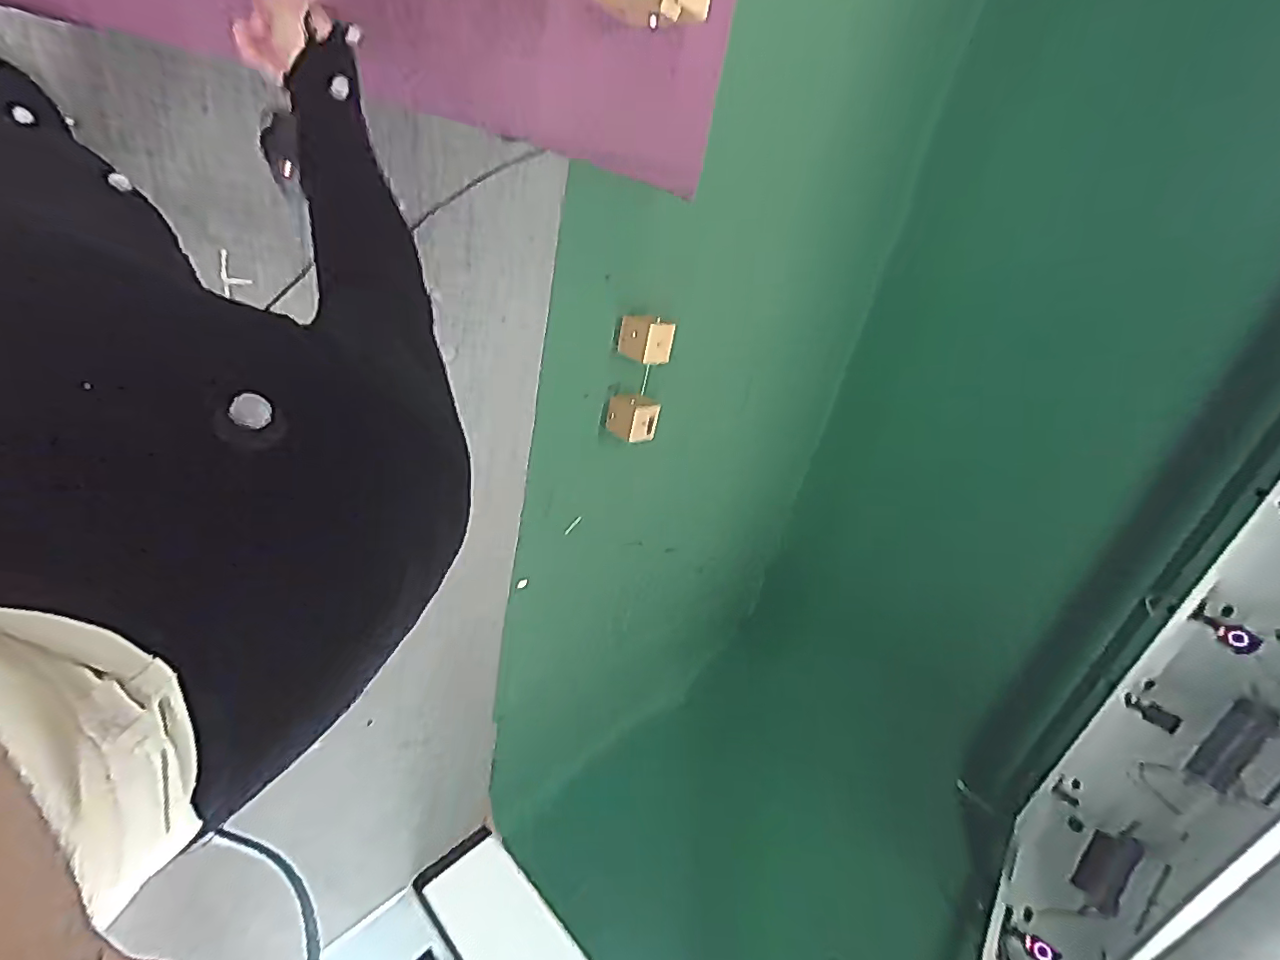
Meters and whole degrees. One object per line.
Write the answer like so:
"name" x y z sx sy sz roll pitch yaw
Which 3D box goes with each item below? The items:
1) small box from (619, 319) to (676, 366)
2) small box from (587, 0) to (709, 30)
"small box" 0.029 -0.605 2.380 0.179 0.176 0.168 -17 127 -47
"small box" 0.010 -0.855 0.863 0.168 0.176 0.179 -17 127 -46
